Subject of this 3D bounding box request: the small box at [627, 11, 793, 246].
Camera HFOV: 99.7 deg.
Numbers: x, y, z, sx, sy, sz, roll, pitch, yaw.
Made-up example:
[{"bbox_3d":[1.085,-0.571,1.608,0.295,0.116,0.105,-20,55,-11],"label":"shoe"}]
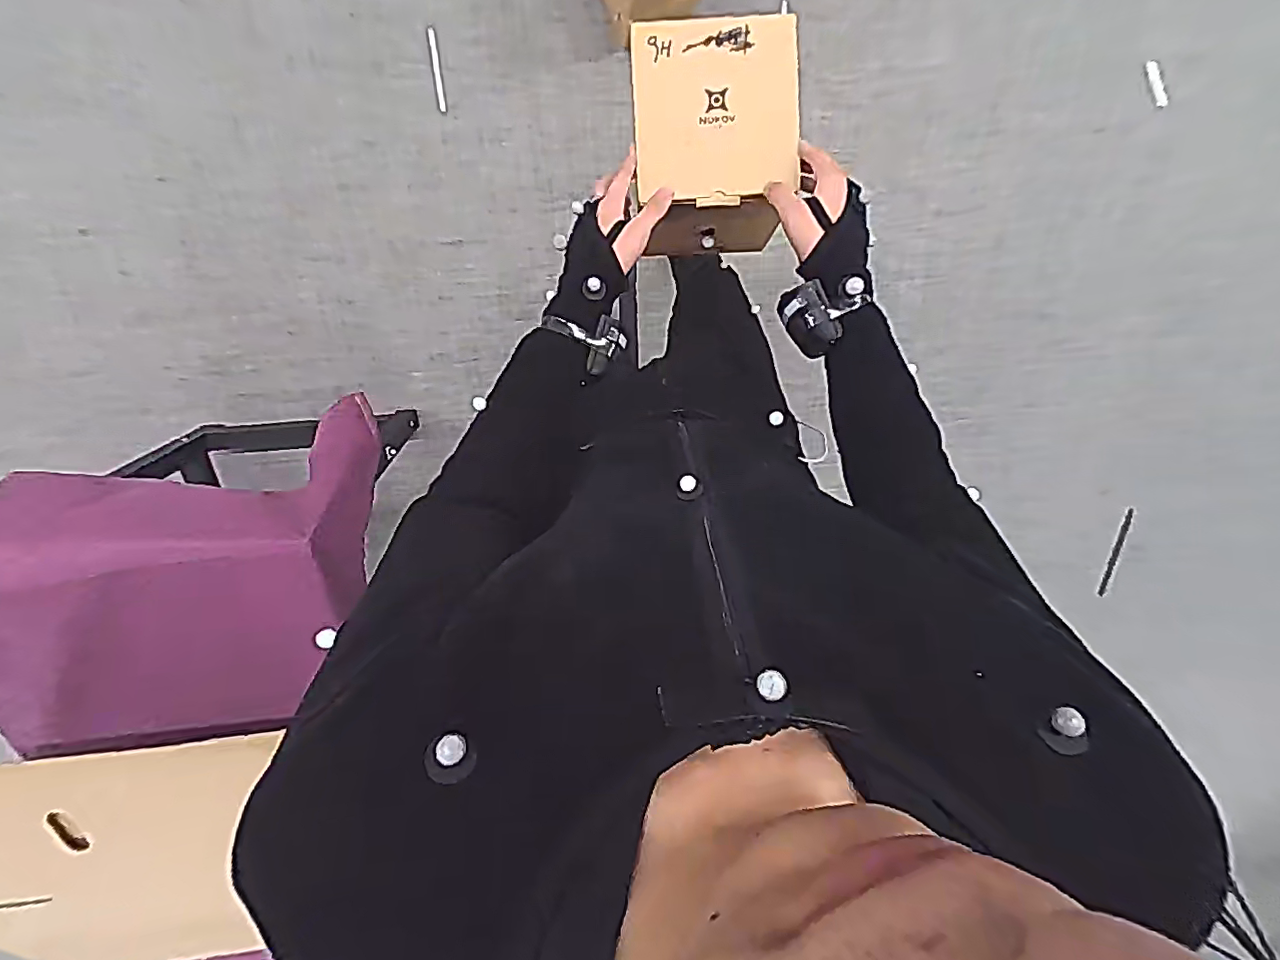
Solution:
[{"bbox_3d":[0.074,-0.383,0.625,0.168,0.176,0.179,-3,95,1],"label":"small box"}]
